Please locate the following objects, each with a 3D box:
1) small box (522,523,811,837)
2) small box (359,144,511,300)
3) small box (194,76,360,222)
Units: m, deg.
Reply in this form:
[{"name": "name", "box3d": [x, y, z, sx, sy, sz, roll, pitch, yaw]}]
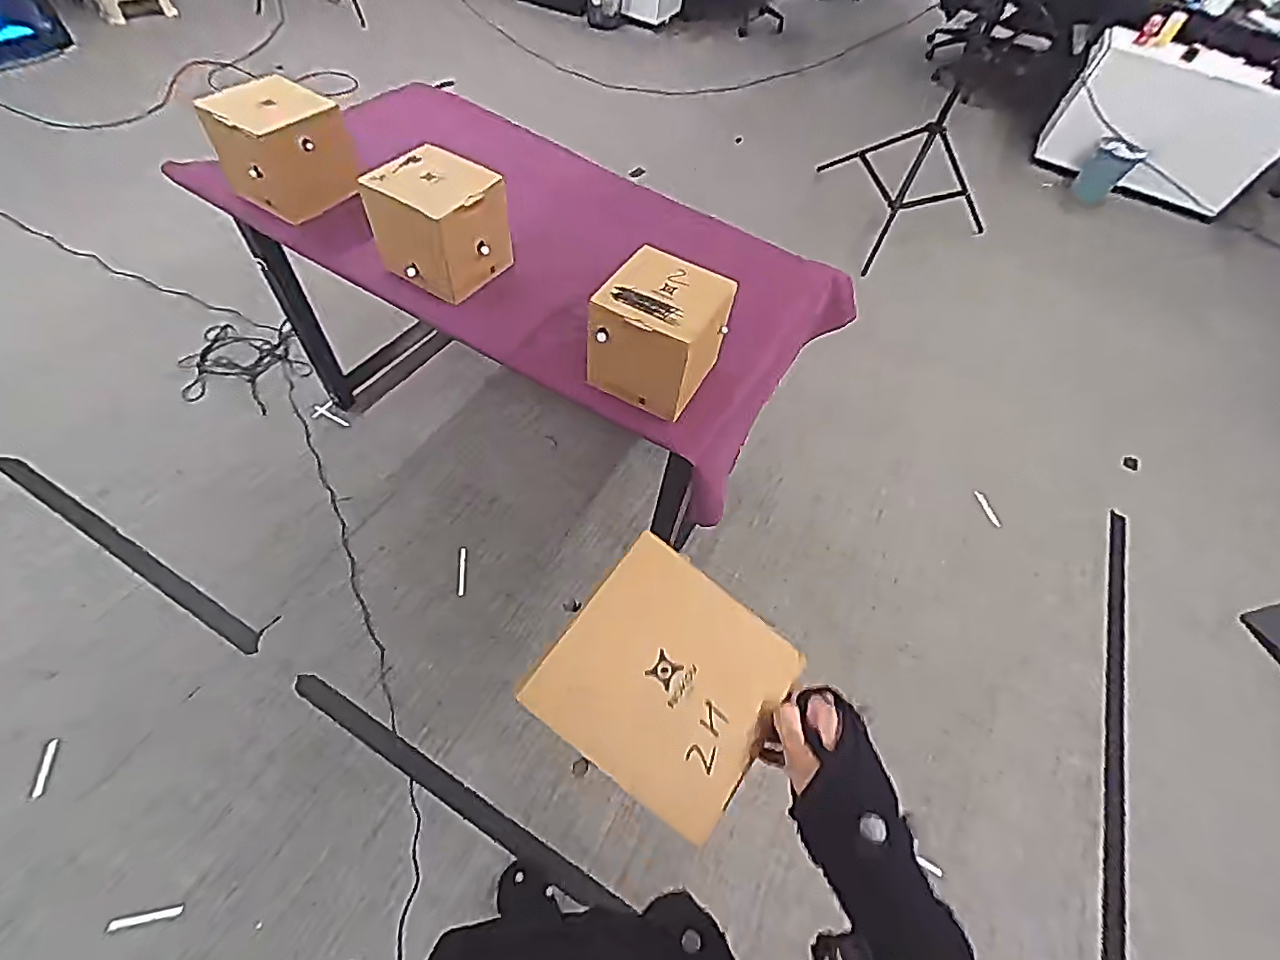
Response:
[{"name": "small box", "box3d": [0.010, 0.170, 0.488, 0.179, 0.176, 0.168, 39, 68, 1]}, {"name": "small box", "box3d": [-0.347, -0.449, 0.959, 0.179, 0.176, 0.168, 30, 58, 12]}, {"name": "small box", "box3d": [-0.676, -0.628, 1.035, 0.168, 0.176, 0.179, 30, 57, 10]}]
